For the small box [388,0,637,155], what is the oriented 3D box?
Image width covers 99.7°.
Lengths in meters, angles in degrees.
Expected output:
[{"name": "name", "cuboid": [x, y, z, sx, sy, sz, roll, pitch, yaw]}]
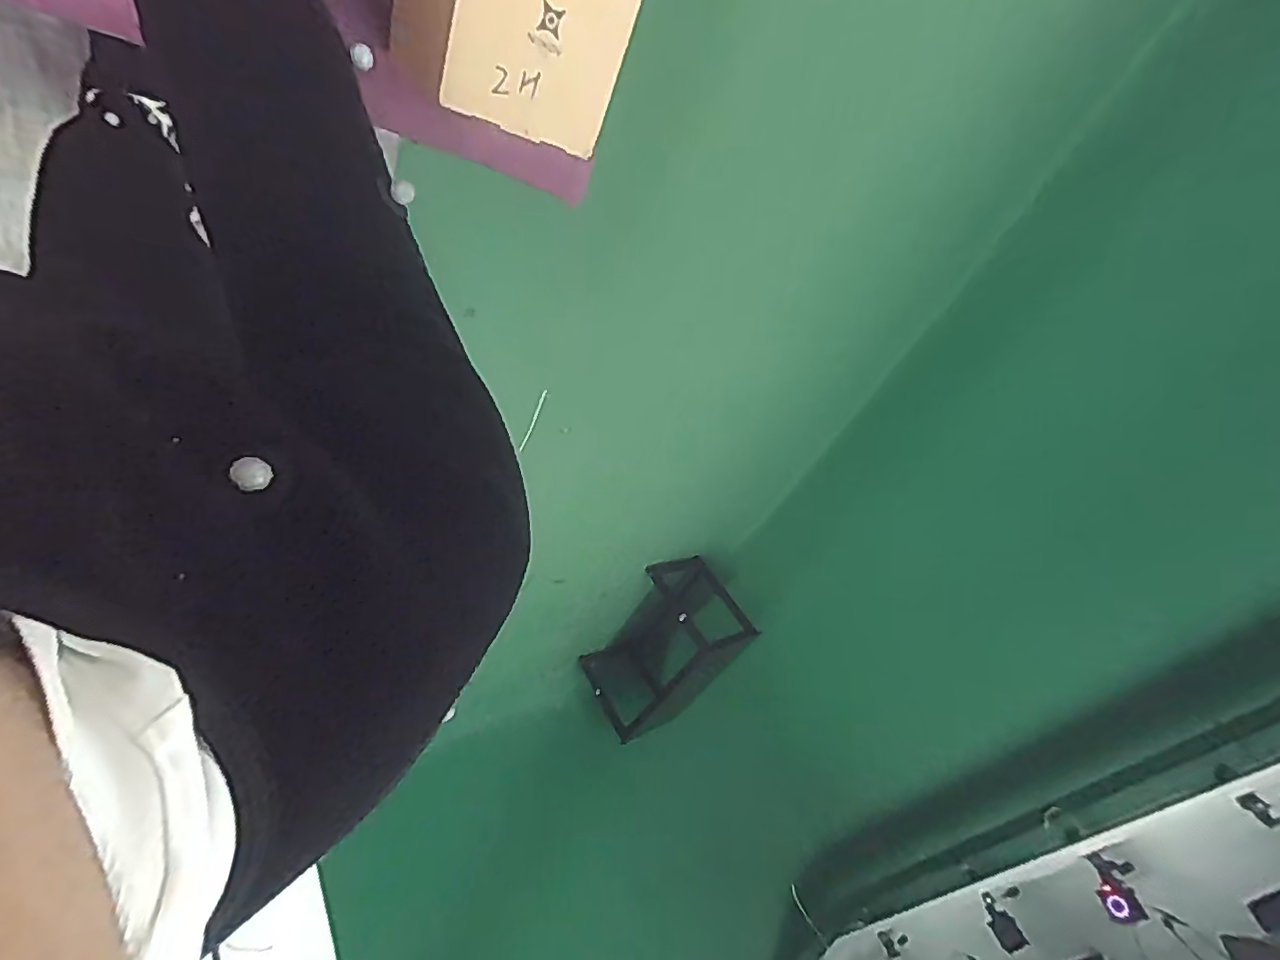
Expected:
[{"name": "small box", "cuboid": [-0.128, -0.461, 0.522, 0.168, 0.176, 0.179, -5, 137, -41]}]
